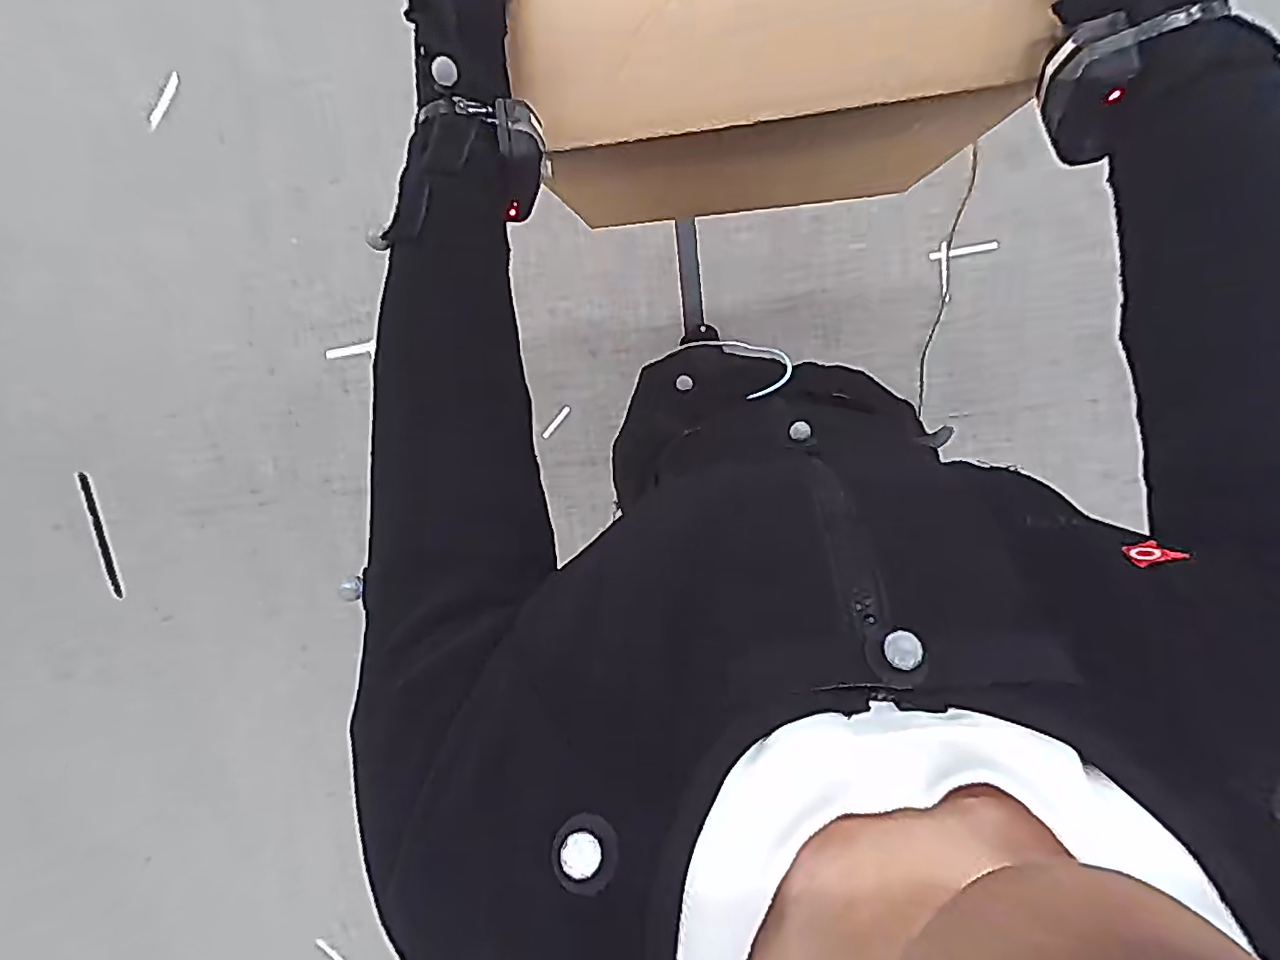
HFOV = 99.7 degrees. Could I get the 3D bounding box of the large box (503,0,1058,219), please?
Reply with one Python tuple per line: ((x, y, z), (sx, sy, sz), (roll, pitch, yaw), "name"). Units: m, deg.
((0.098, -0.470, 0.518), (0.408, 0.320, 0.320), (-4, 105, 7), "large box")
